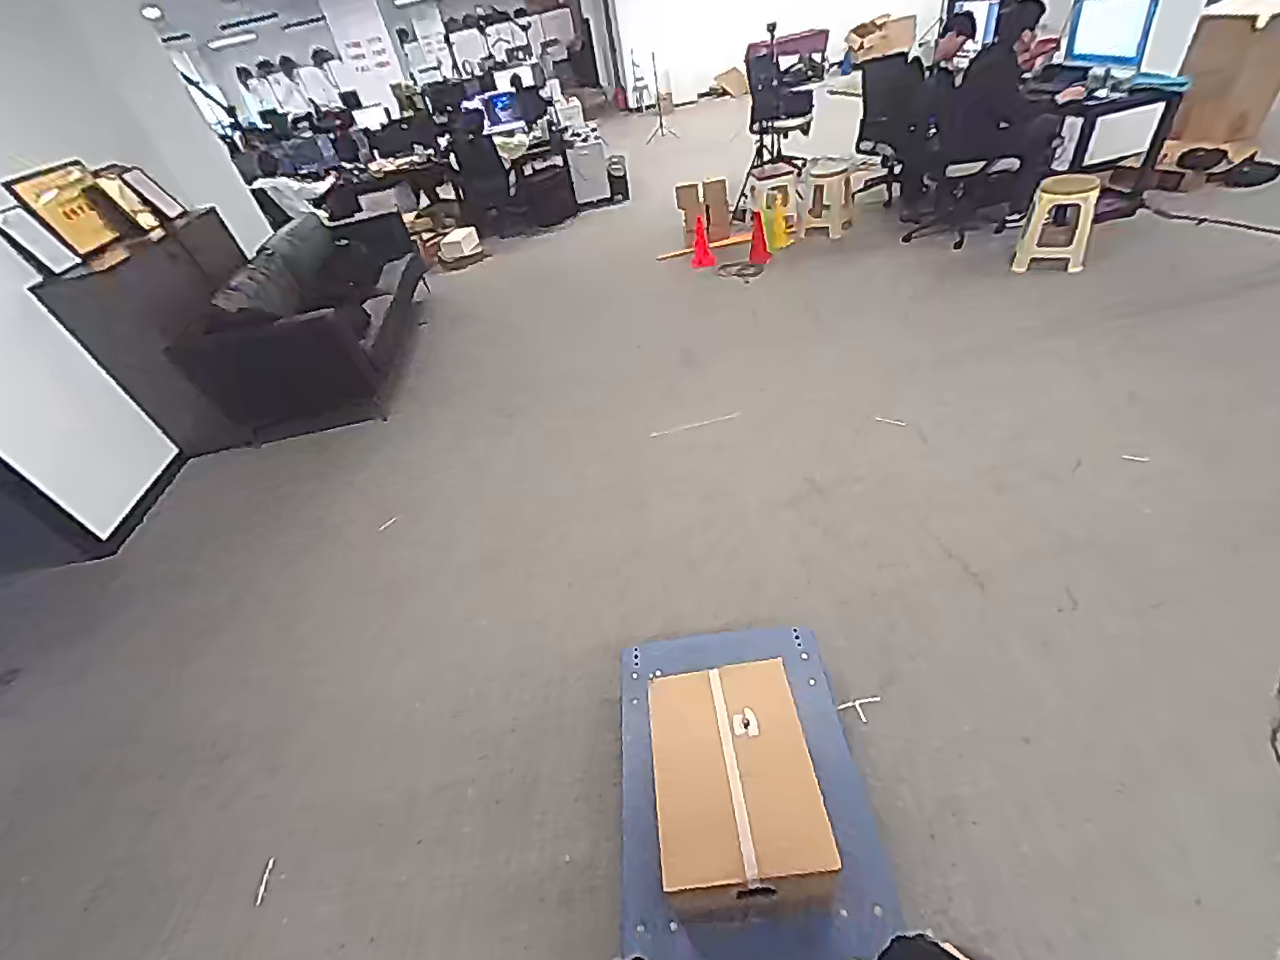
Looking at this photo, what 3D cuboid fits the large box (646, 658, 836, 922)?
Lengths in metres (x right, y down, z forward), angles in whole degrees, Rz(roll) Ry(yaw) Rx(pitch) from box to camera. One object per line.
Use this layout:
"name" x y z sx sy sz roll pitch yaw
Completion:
"large box" 0.207 0.675 1.195 0.320 0.320 0.408 -10 40 3
